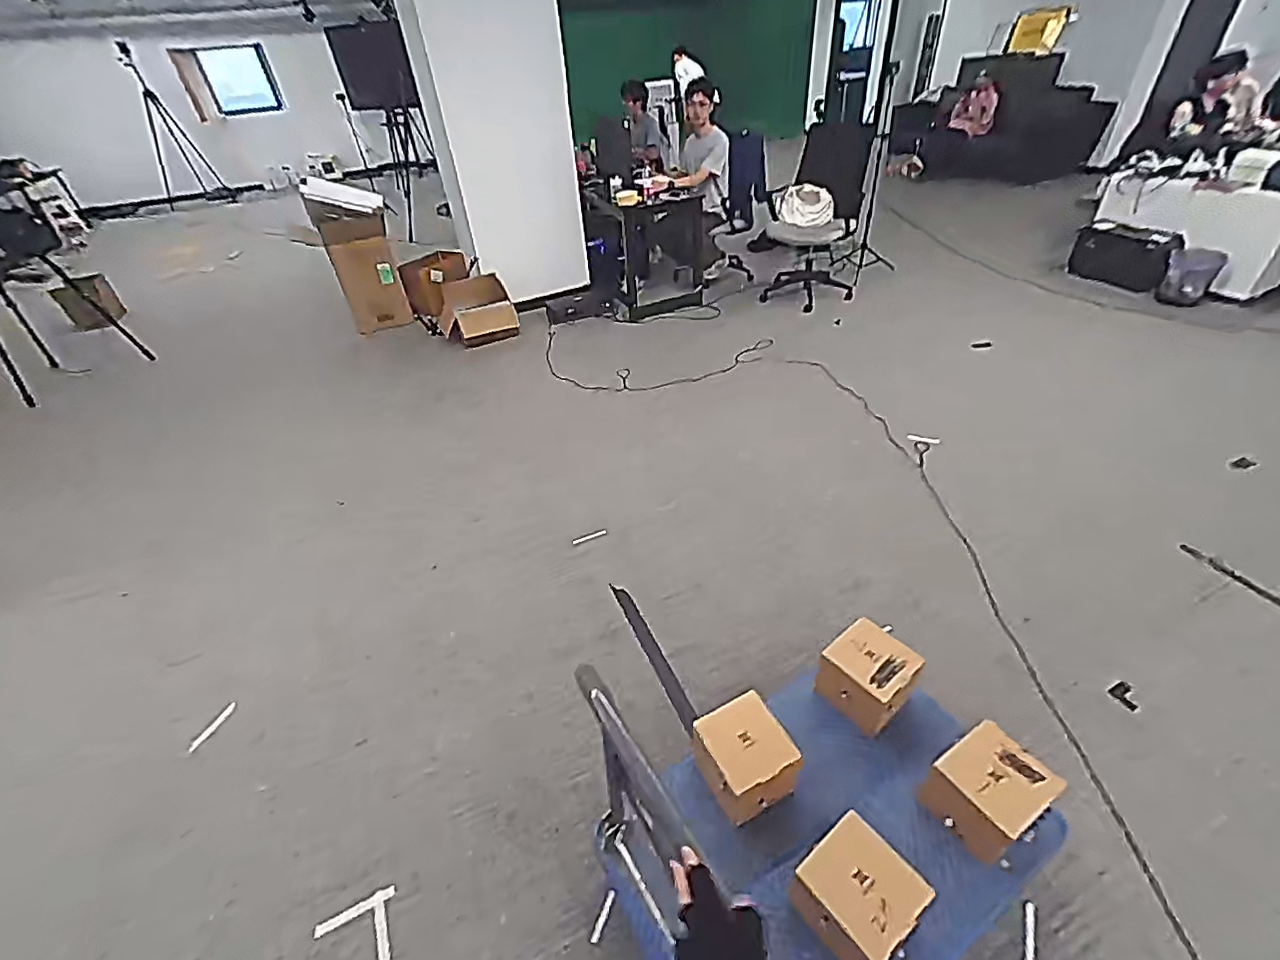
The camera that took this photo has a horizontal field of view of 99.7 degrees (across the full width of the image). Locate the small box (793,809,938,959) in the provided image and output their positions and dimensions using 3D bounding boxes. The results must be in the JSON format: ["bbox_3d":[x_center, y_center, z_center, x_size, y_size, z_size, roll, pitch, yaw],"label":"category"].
[{"bbox_3d":[0.404,0.768,1.000,0.168,0.176,0.179,-28,44,-25],"label":"small box"}]

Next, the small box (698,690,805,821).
[{"bbox_3d":[0.240,0.616,1.212,0.168,0.176,0.179,-20,42,-18],"label":"small box"}]

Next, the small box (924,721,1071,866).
[{"bbox_3d":[0.721,0.643,1.112,0.179,0.176,0.168,-24,42,-20],"label":"small box"}]
